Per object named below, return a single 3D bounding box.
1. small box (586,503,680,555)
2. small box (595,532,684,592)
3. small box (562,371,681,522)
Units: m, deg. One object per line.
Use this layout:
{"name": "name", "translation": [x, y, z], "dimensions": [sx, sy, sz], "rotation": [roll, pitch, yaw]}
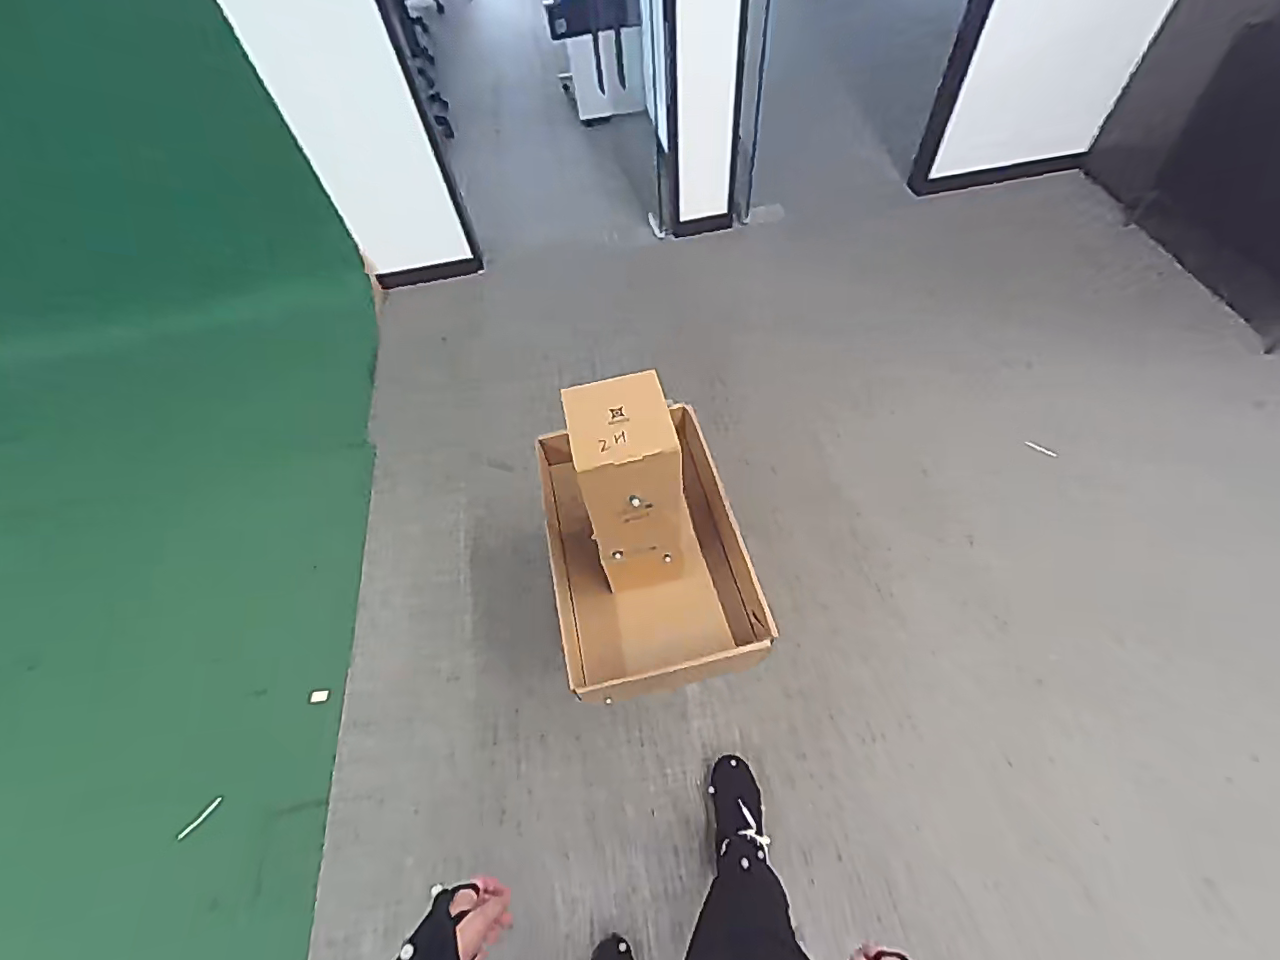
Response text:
{"name": "small box", "translation": [-0.017, 0.034, 1.061], "dimensions": [0.168, 0.176, 0.179], "rotation": [-11, 55, -2]}
{"name": "small box", "translation": [-0.005, 0.129, 1.194], "dimensions": [0.179, 0.176, 0.168], "rotation": [-12, 56, -3]}
{"name": "small box", "translation": [-0.030, -0.055, 0.922], "dimensions": [0.168, 0.176, 0.179], "rotation": [-13, 56, -3]}
